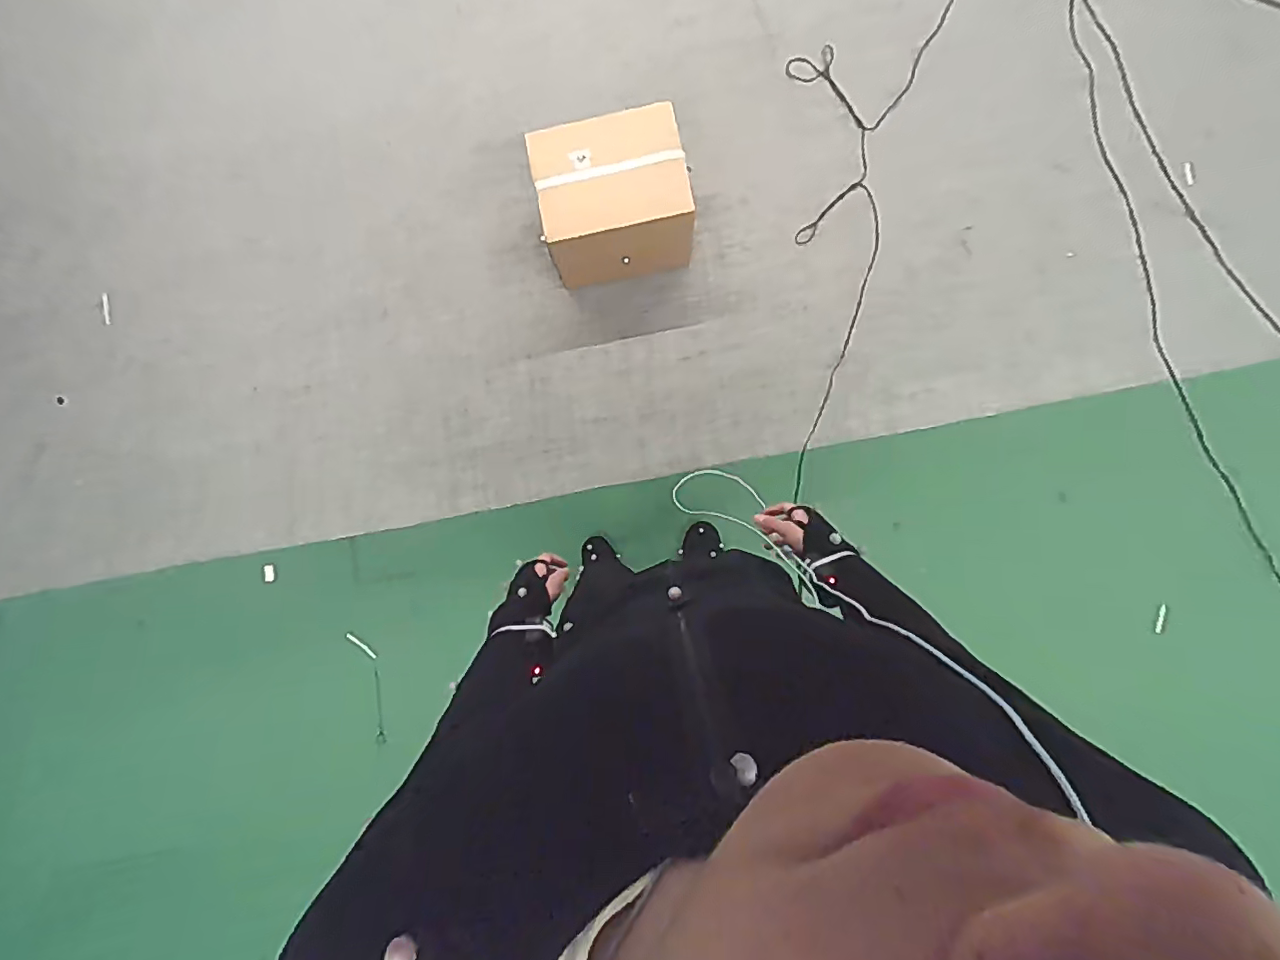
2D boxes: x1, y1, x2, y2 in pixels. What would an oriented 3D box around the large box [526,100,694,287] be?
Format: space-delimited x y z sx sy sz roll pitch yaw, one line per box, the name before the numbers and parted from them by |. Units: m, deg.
large box | -0.073 -0.809 1.579 0.408 0.320 0.320 -13 86 3
